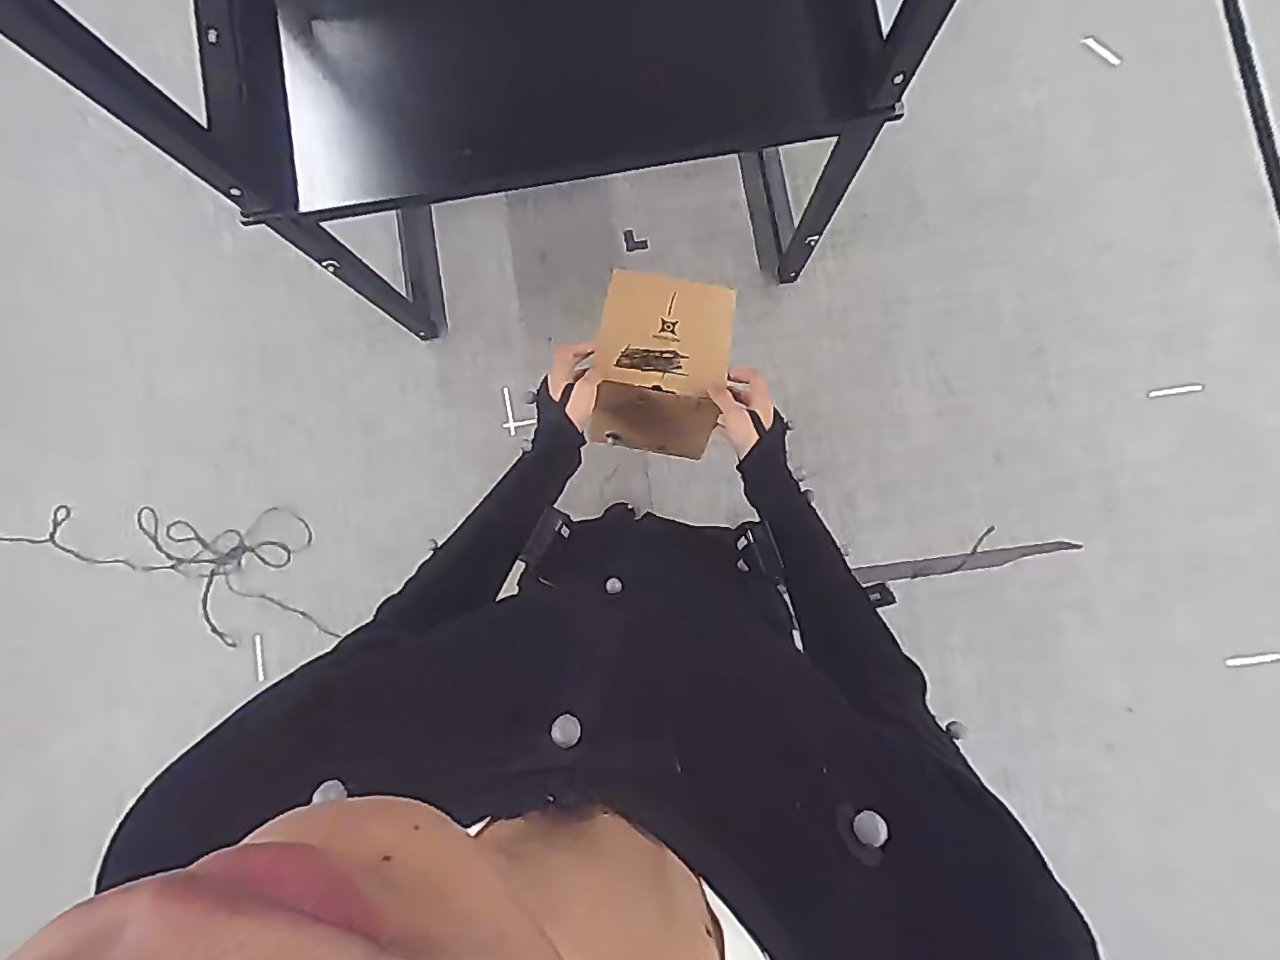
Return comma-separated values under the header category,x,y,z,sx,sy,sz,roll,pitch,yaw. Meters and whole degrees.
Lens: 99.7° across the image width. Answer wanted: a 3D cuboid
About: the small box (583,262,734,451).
category,x,y,z,sx,sy,sz,roll,pitch,yaw
small box,0.022,-0.158,0.739,0.168,0.176,0.179,11,67,-1
